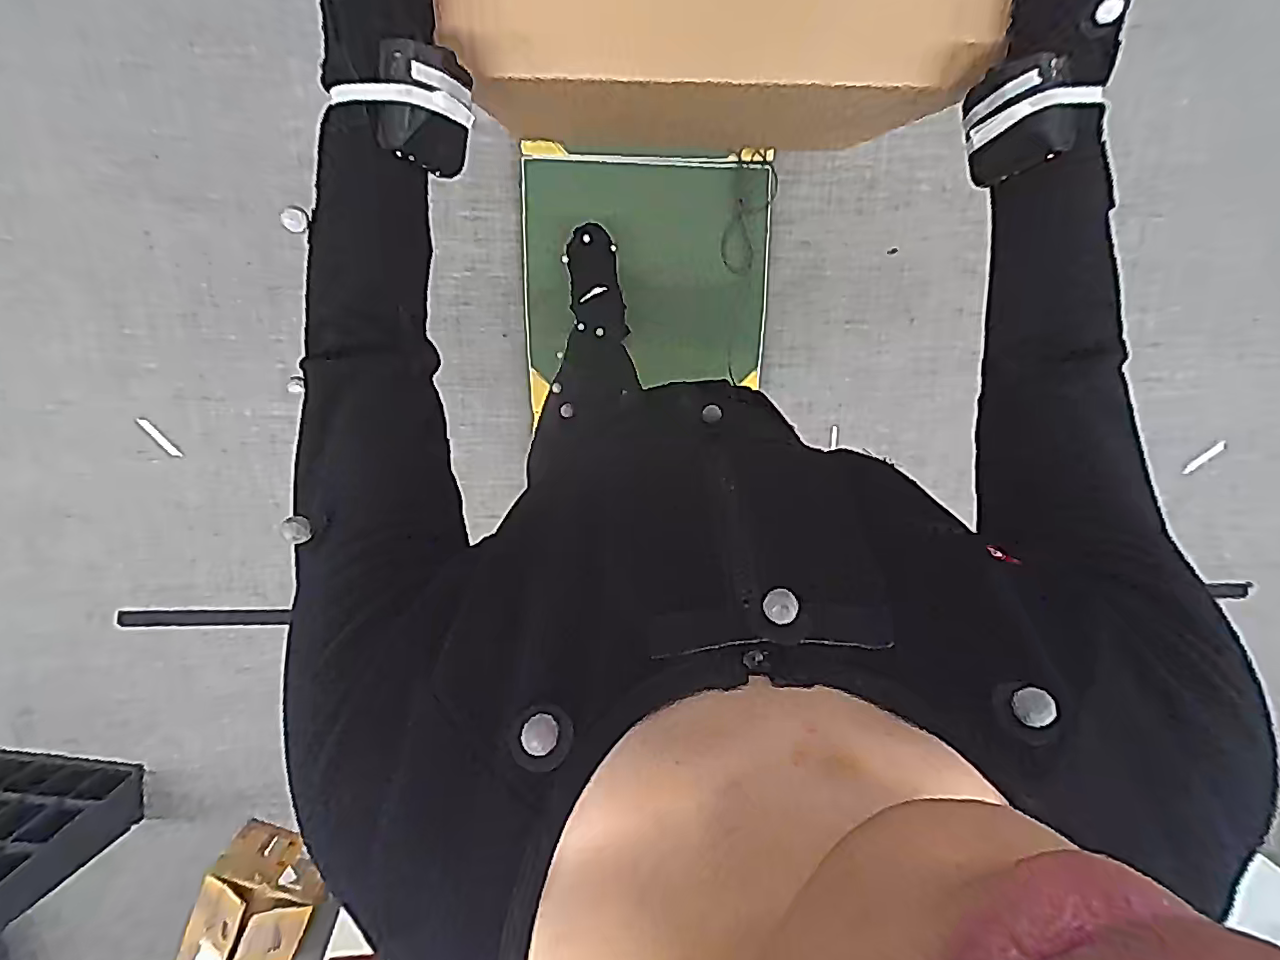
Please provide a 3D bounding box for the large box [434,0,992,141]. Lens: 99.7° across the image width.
[{"bbox_3d":[0.048,-0.501,0.471,0.408,0.320,0.320,0,115,-2],"label":"large box"}]
